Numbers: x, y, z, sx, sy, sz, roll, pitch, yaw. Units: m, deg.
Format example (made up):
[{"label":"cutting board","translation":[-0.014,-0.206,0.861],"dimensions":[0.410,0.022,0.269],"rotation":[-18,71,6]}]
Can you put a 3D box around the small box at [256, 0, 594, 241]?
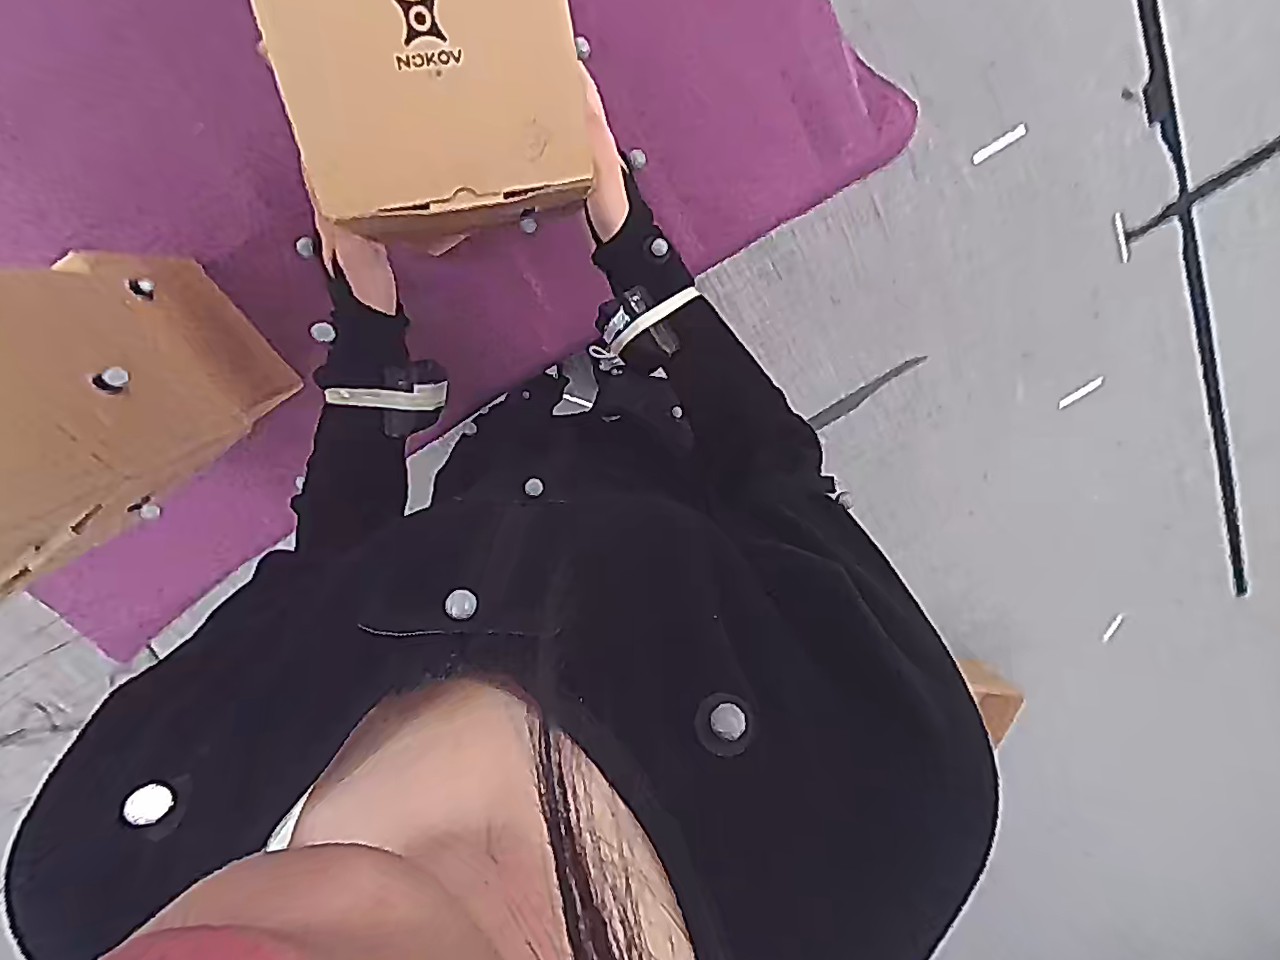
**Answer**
[{"label":"small box","translation":[-0.134,-0.271,0.375],"dimensions":[0.168,0.176,0.179],"rotation":[-13,111,-9]}]

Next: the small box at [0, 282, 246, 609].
[{"label":"small box","translation":[-0.474,-0.040,0.428],"dimensions":[0.168,0.176,0.179],"rotation":[-37,112,5]}]

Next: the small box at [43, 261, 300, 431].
[{"label":"small box","translation":[-0.513,-0.110,0.573],"dimensions":[0.168,0.176,0.179],"rotation":[-33,111,3]}]
